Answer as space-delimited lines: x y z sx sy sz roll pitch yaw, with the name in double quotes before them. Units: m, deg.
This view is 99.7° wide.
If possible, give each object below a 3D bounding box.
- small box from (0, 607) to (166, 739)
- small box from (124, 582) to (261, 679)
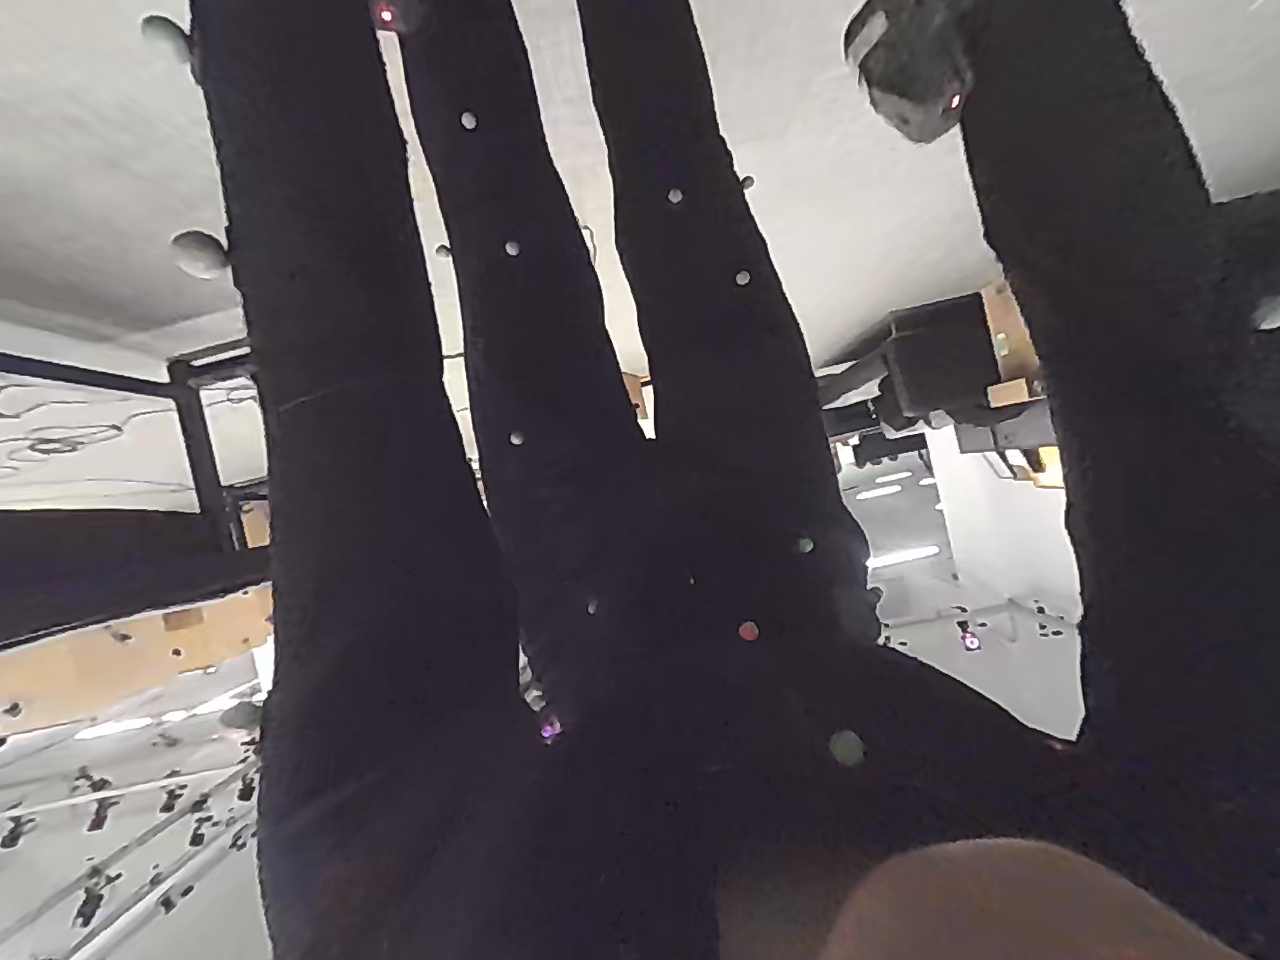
"small box" -1.026 0.339 0.980 0.179 0.176 0.168 -13 180 3
"small box" -1.013 0.335 1.223 0.179 0.176 0.168 -12 180 2
